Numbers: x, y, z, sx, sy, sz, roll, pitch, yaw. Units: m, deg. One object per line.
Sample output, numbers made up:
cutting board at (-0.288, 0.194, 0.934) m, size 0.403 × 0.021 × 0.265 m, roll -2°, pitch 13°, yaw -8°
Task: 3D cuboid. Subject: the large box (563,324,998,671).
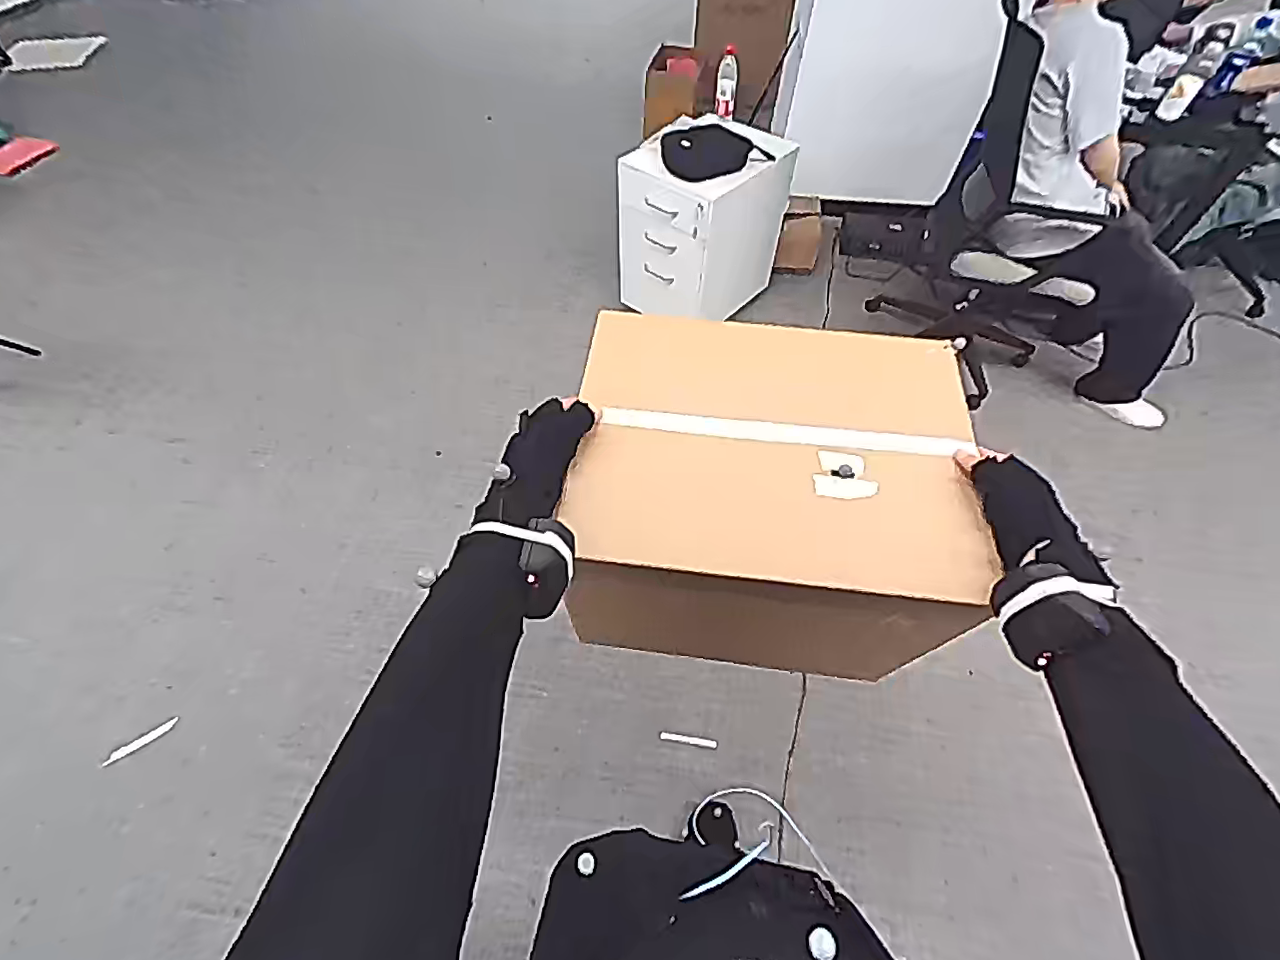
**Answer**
large box at (0.138, 0.036, 0.692) m, size 0.408 × 0.320 × 0.320 m, roll 7°, pitch 60°, yaw 4°
